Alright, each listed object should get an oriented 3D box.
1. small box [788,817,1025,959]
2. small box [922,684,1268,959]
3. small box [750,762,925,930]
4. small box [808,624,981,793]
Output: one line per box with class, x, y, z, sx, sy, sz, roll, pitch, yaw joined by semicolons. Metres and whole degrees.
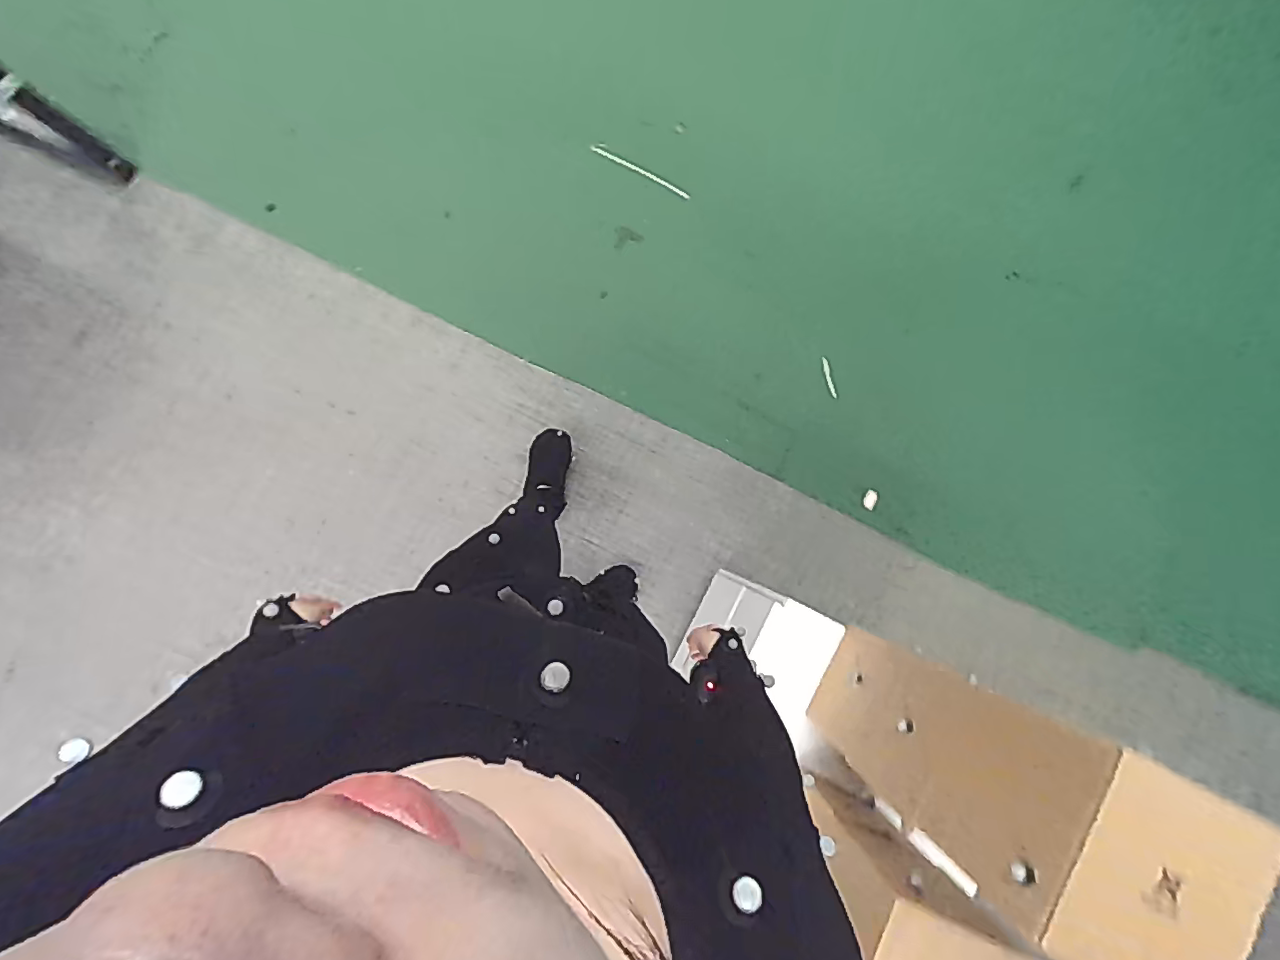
small box;0.311;0.559;0.668;0.179;0.176;0.168;26;84;-2
small box;0.418;0.330;0.528;0.168;0.176;0.179;28;86;-3
small box;0.291;0.574;0.831;0.168;0.176;0.179;28;84;-2
small box;0.393;0.351;0.853;0.168;0.176;0.179;28;85;-2
